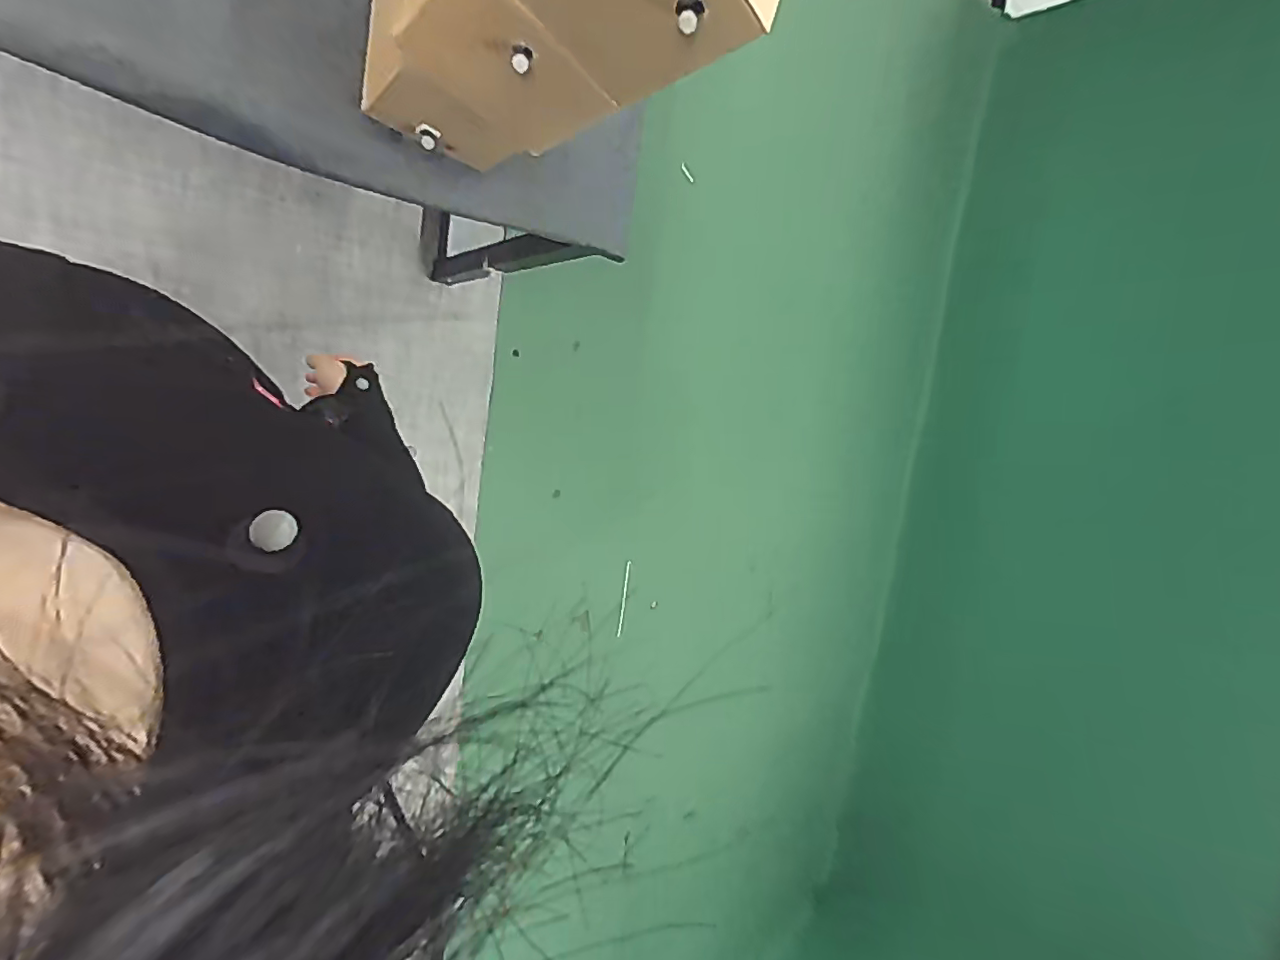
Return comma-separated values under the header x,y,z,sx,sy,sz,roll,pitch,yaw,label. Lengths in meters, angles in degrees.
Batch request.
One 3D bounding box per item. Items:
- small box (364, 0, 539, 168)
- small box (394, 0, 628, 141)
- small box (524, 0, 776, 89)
x,y,z,sx,sy,sz,roll,pitch,yaw,label
-0.213,-0.509,0.641,0.168,0.176,0.179,4,98,-42,small box
-0.107,-0.466,0.525,0.179,0.176,0.168,18,87,-42,small box
0.005,-0.441,0.406,0.179,0.176,0.168,20,85,-42,small box
